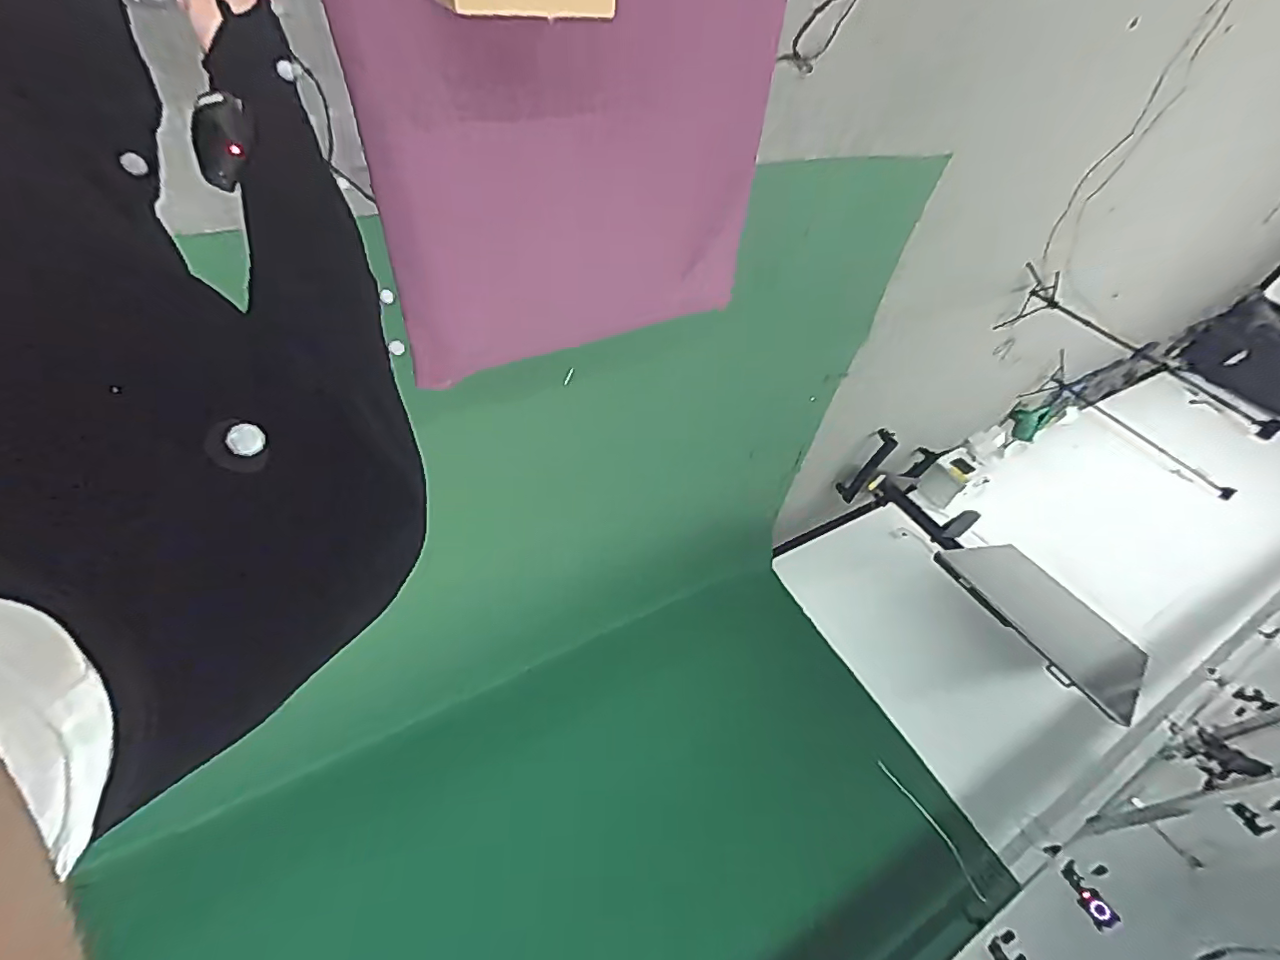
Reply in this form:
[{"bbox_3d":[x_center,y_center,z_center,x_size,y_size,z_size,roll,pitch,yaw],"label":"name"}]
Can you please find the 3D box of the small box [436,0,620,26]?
[{"bbox_3d":[-0.128,-0.569,0.526,0.179,0.176,0.168,-20,143,-24],"label":"small box"}]
